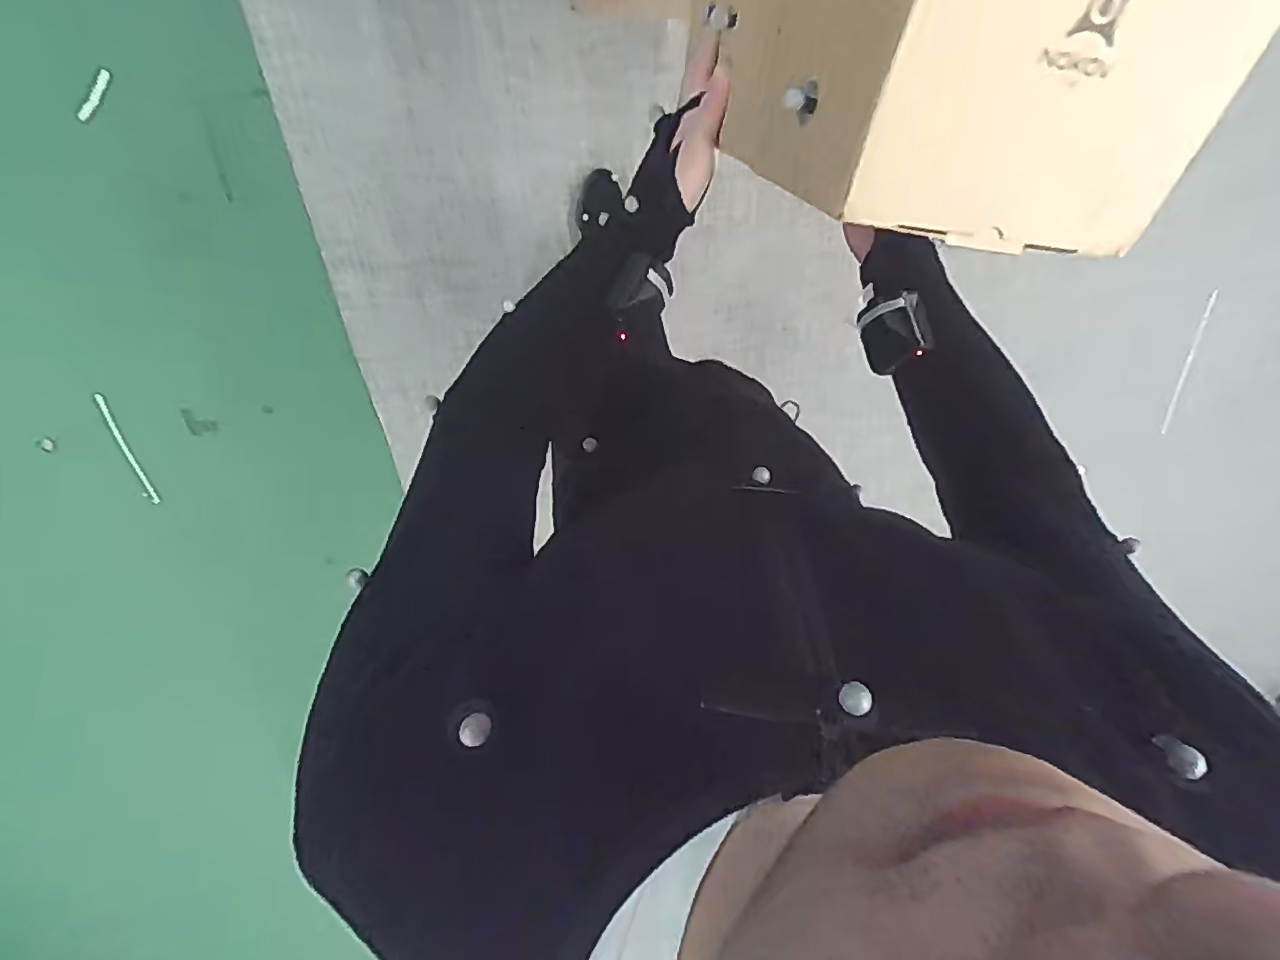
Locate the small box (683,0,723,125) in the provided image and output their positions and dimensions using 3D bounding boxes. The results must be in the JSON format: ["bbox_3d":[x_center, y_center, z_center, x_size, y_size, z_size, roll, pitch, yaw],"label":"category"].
[{"bbox_3d":[0.143,-0.447,0.527,0.168,0.176,0.179,3,128,-8],"label":"small box"}]

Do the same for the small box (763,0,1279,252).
[{"bbox_3d":[0.176,-0.240,0.275,0.168,0.176,0.179,4,128,-10],"label":"small box"}]

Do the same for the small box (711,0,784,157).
[{"bbox_3d":[0.157,-0.345,0.400,0.168,0.176,0.179,2,129,-9],"label":"small box"}]
